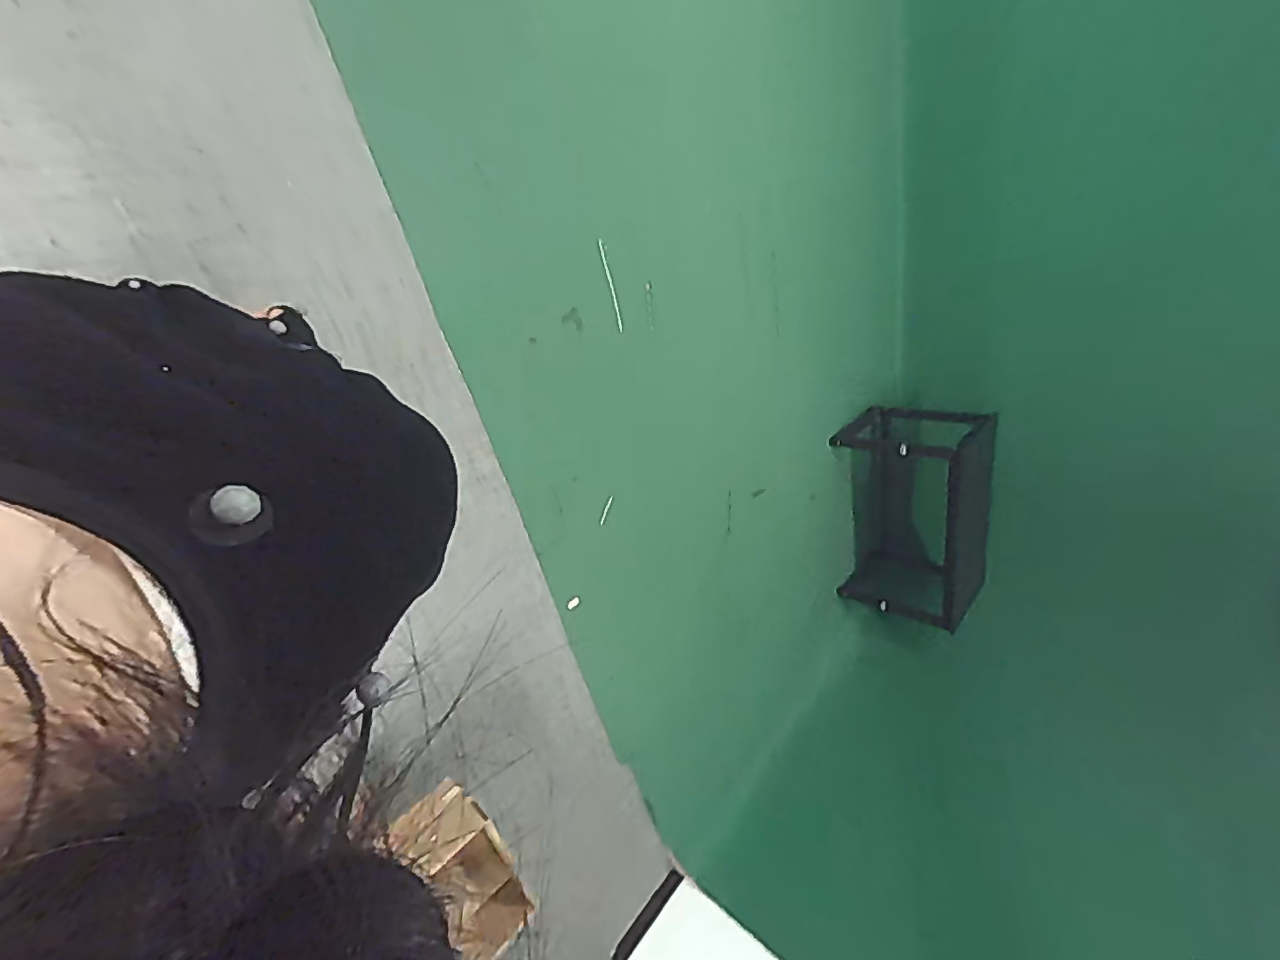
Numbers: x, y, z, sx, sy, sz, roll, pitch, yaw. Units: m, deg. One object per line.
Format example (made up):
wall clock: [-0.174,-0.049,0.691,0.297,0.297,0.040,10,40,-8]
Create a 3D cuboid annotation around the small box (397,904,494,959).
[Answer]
small box: [-0.395,1.052,1.119,0.179,0.176,0.168,-25,119,-35]
